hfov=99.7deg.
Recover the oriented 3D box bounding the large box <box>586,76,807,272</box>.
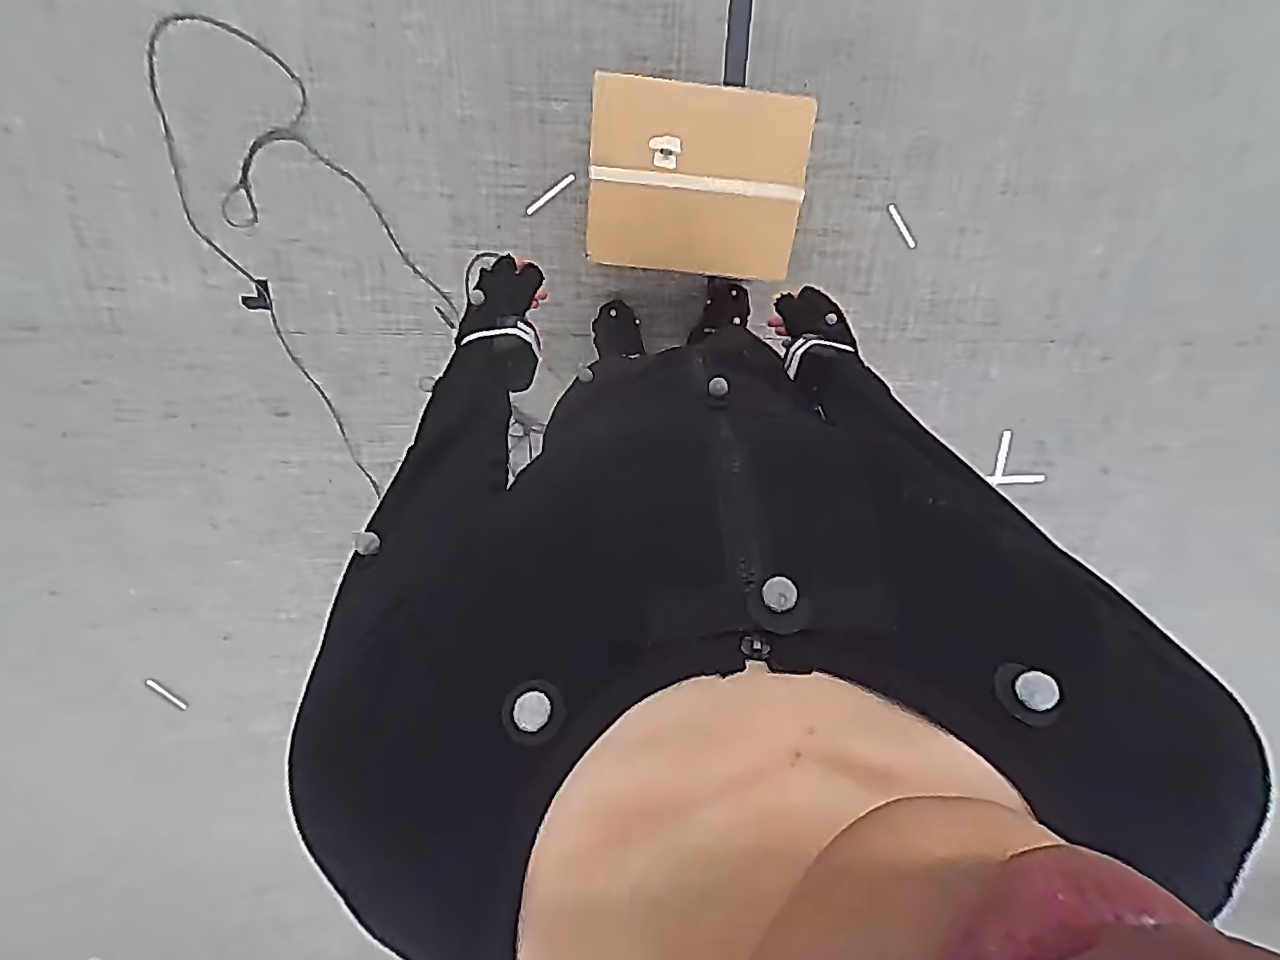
[{"bbox_3d":[0.094,-0.625,1.155,0.408,0.320,0.320,2,112,-3],"label":"large box"}]
